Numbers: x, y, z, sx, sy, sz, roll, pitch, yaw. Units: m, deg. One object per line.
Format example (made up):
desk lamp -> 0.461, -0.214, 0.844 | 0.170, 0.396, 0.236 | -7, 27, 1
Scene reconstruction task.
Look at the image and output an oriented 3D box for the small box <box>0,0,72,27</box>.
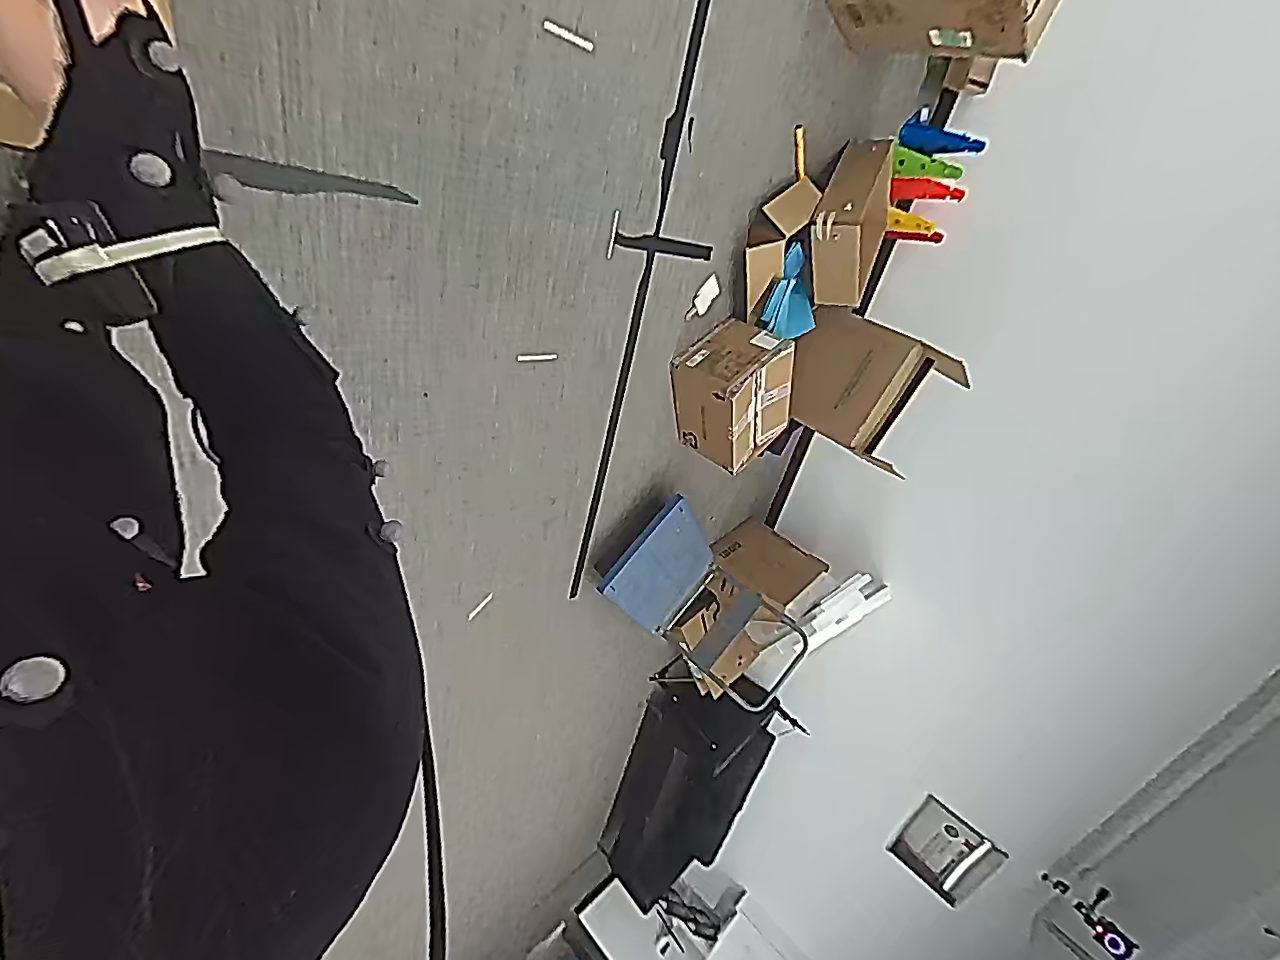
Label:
small box -> -0.396, -0.337, 0.238 | 0.179, 0.176, 0.168 | -11, 125, -45
